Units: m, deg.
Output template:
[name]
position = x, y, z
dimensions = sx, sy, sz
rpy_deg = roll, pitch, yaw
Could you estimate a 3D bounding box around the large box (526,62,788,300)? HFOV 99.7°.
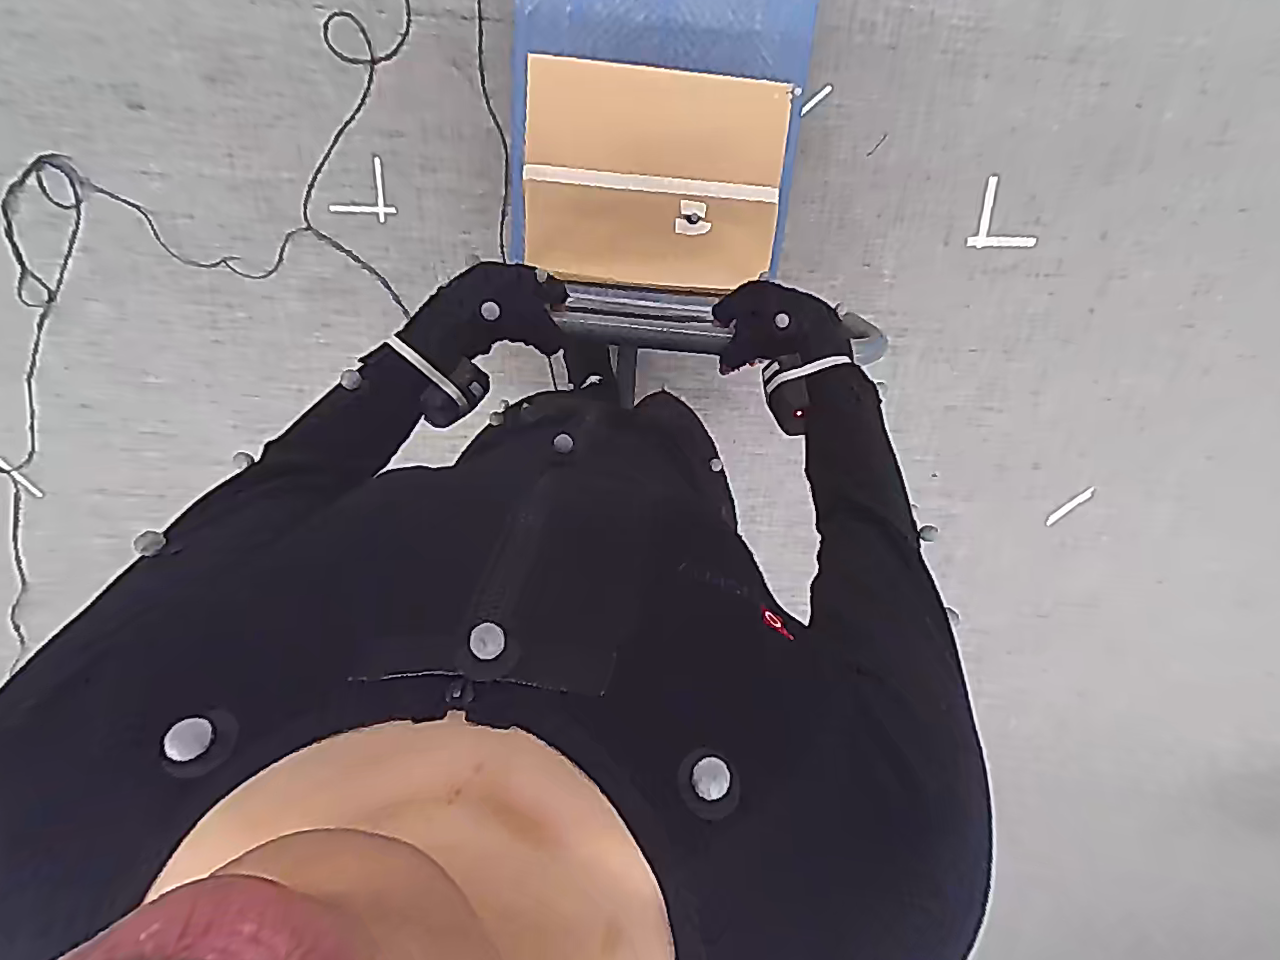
[large box]
position = 0.012, -0.508, 0.997
dimensions = 0.408, 0.320, 0.320
rpy_deg = 3, 108, -4
